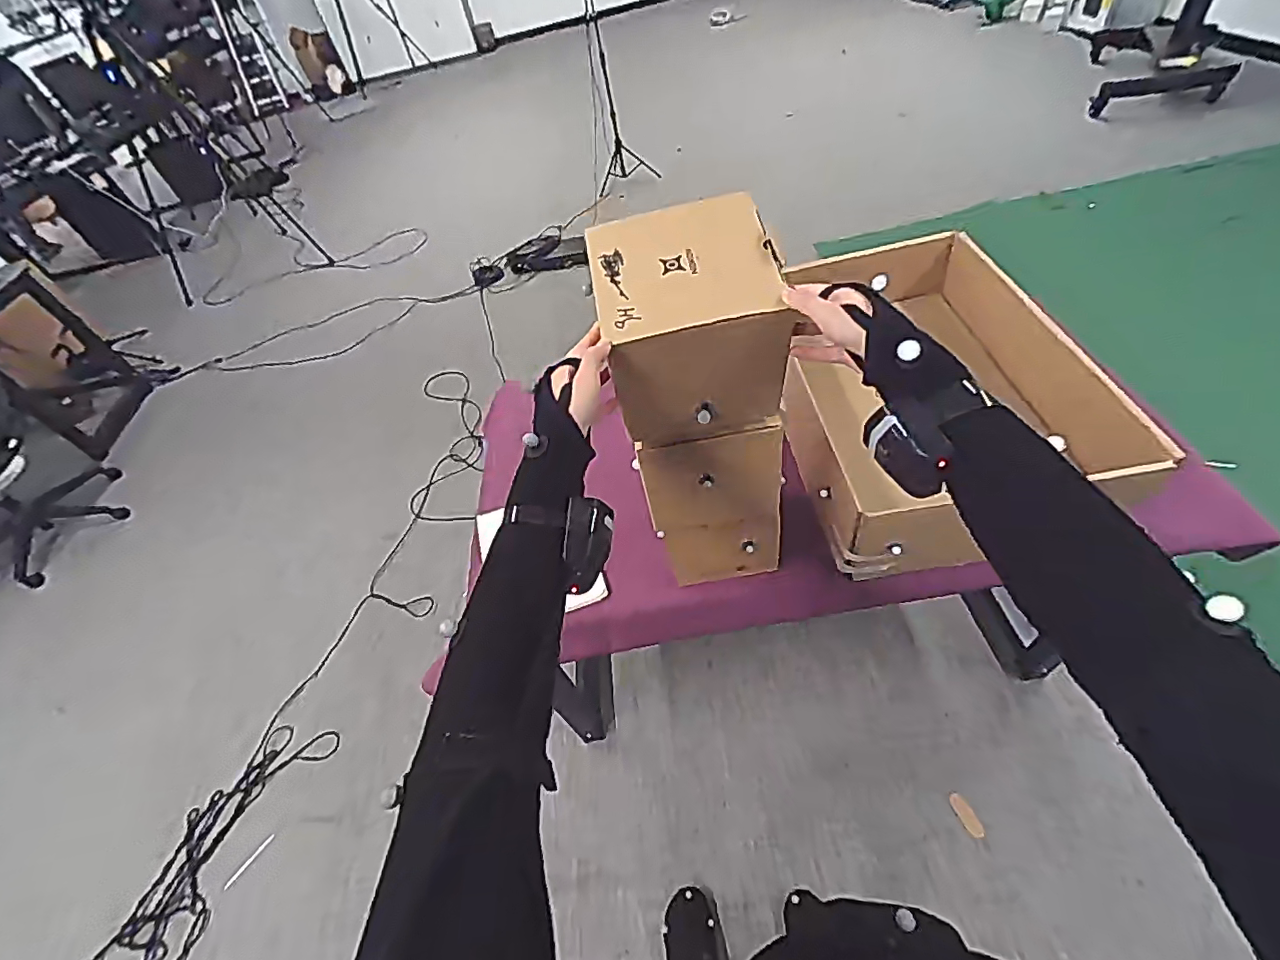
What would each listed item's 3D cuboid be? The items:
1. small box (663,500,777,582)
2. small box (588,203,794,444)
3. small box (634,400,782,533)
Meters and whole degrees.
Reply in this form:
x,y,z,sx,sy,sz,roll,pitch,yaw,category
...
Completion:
x,y,z,sx,sy,sz,roll,pitch,yaw,category
0.122,0.049,0.867,0.168,0.176,0.179,-10,47,5,small box
0.050,-0.160,0.586,0.179,0.176,0.168,-10,59,2,small box
0.087,-0.049,0.740,0.179,0.176,0.168,-10,47,5,small box
